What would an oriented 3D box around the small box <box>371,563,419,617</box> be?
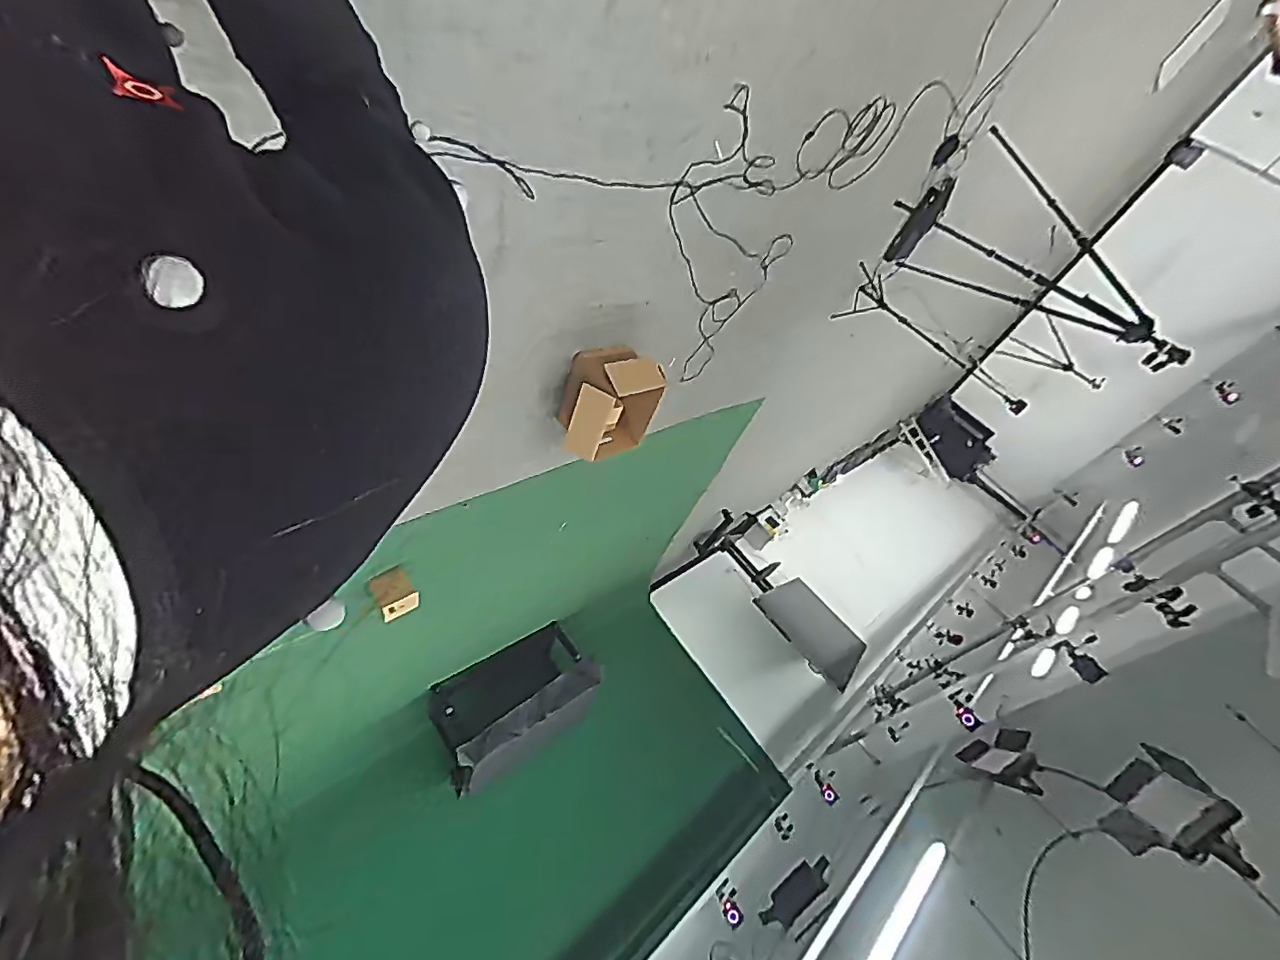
[{"bbox_3d":[-1.239,0.555,2.731,0.179,0.176,0.168,-26,154,-35],"label":"small box"}]
